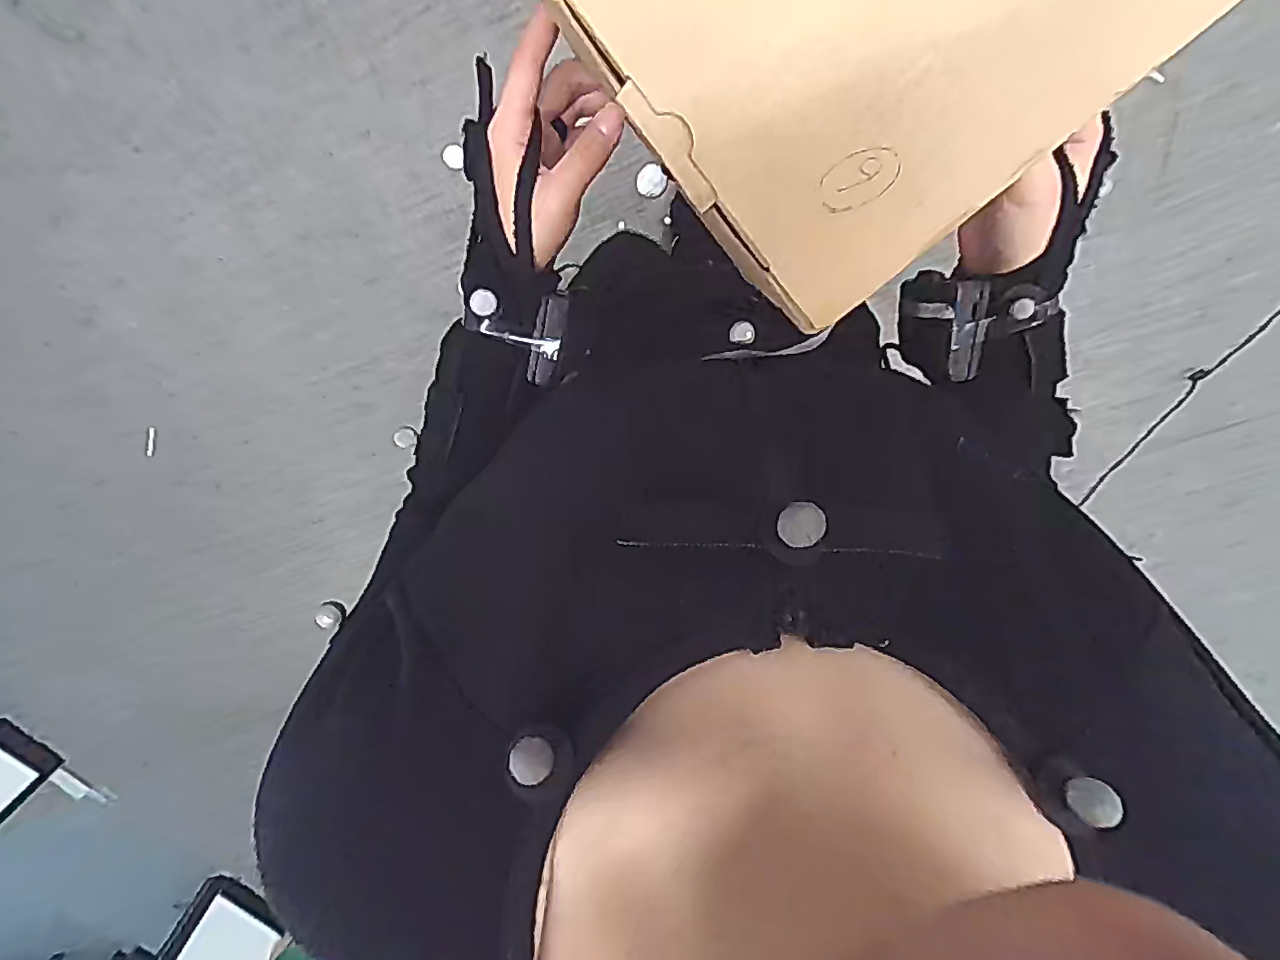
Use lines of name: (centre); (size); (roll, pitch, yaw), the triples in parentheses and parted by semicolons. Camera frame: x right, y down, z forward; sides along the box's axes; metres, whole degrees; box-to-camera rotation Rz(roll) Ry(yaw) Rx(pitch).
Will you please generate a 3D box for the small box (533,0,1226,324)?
small box: (0.075, -0.195, 0.219); (0.179, 0.176, 0.168); (-38, 109, 21)
